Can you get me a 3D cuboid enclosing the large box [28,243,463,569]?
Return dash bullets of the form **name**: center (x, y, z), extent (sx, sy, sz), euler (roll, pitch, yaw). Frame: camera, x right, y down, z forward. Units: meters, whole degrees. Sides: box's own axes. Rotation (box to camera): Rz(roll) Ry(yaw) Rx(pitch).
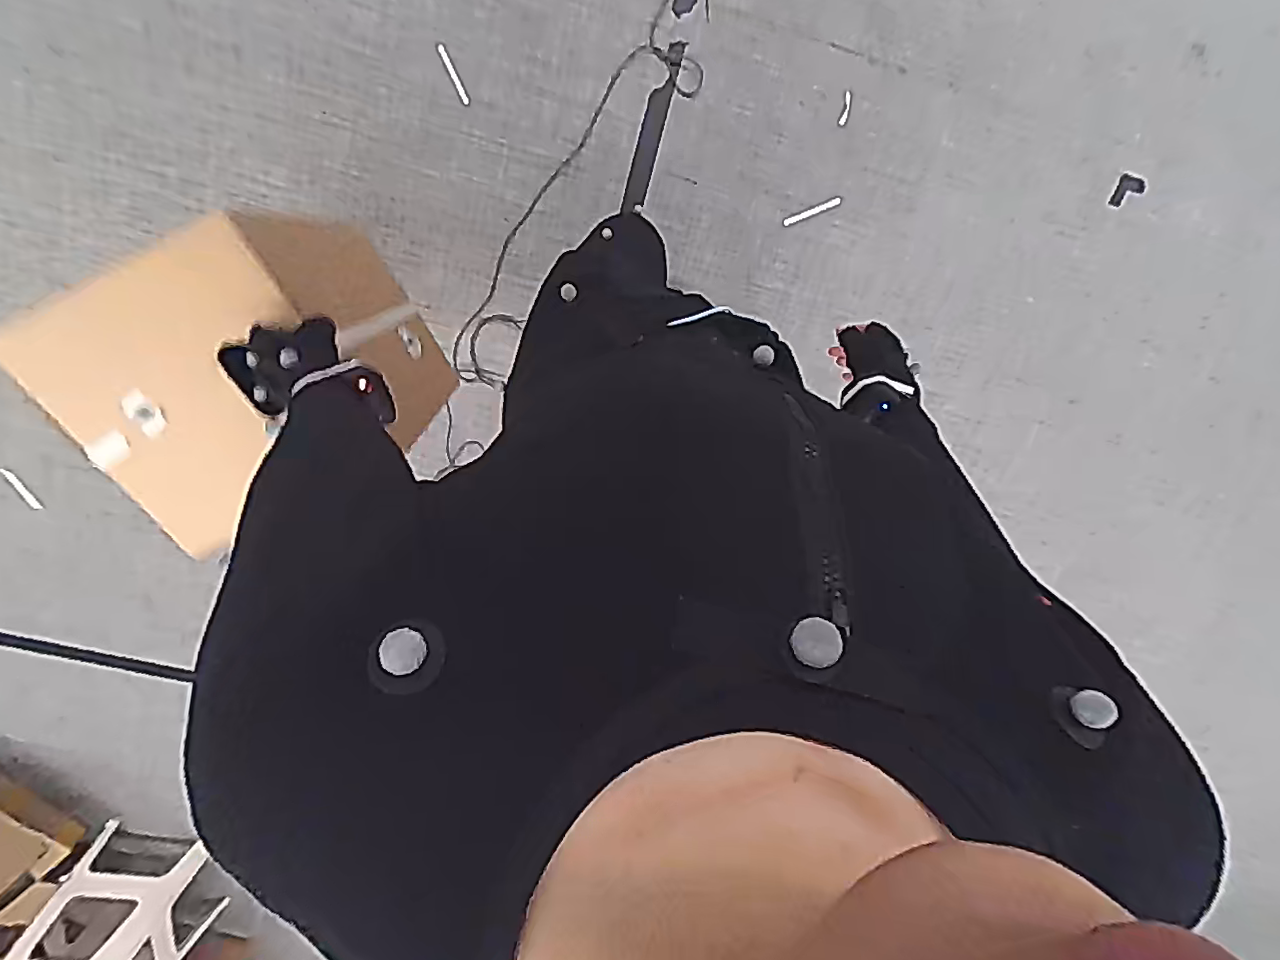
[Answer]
- **large box**: center (-0.520, -0.139, 0.828), extent (0.320, 0.408, 0.320), euler (-27, 114, 4)
